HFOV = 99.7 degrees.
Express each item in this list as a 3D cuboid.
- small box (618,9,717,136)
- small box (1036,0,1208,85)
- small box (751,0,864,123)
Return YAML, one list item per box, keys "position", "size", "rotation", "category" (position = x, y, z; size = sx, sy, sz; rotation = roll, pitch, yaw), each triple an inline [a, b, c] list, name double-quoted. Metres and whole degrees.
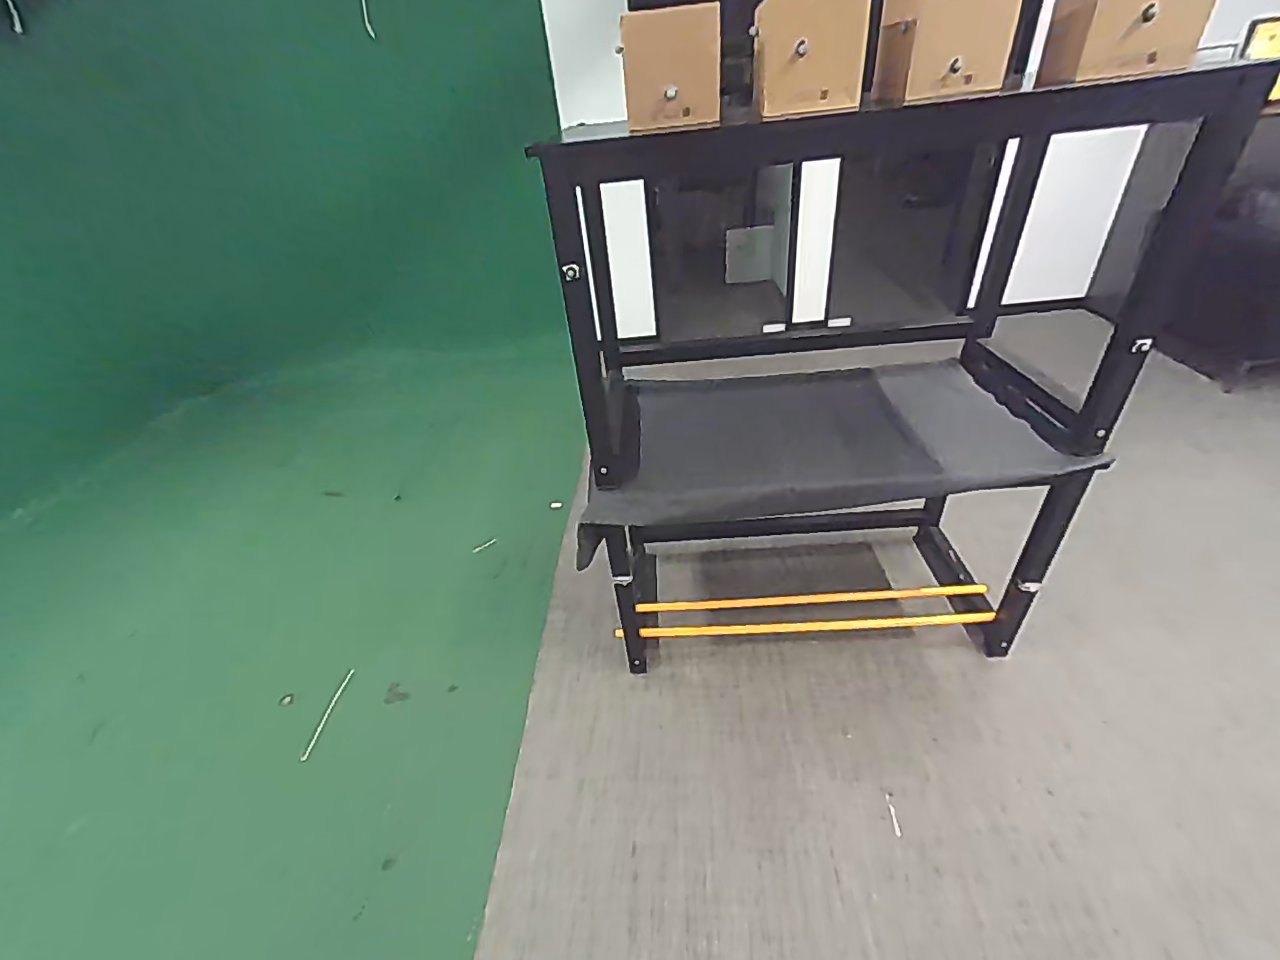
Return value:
- position: [0.050, -0.751, 1.010]
  size: [0.168, 0.176, 0.179]
  rotation: [-6, 36, 2]
  category: "small box"
- position: [0.804, -0.775, 0.902]
  size: [0.168, 0.176, 0.179]
  rotation: [2, 36, 13]
  category: "small box"
- position: [0.293, -0.754, 0.973]
  size: [0.168, 0.176, 0.179]
  rotation: [-3, 35, 6]
  category: "small box"
